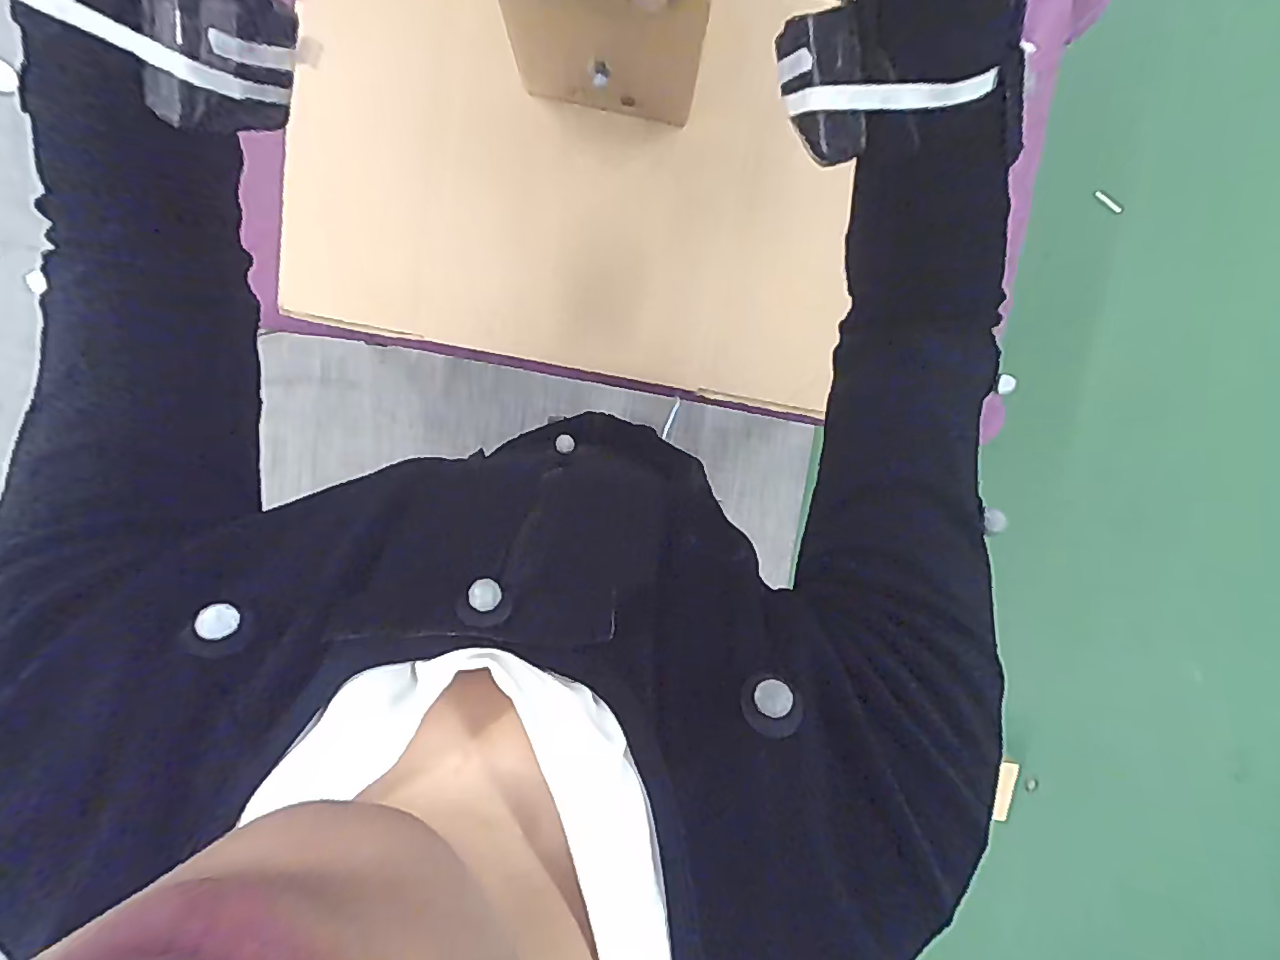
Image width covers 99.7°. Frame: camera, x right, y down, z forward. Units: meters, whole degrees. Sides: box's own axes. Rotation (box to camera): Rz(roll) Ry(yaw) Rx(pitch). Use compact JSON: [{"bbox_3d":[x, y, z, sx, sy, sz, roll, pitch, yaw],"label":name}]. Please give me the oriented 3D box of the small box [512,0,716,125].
[{"bbox_3d":[-0.013,-0.445,0.449,0.168,0.176,0.179,11,95,-2],"label":"small box"}]
